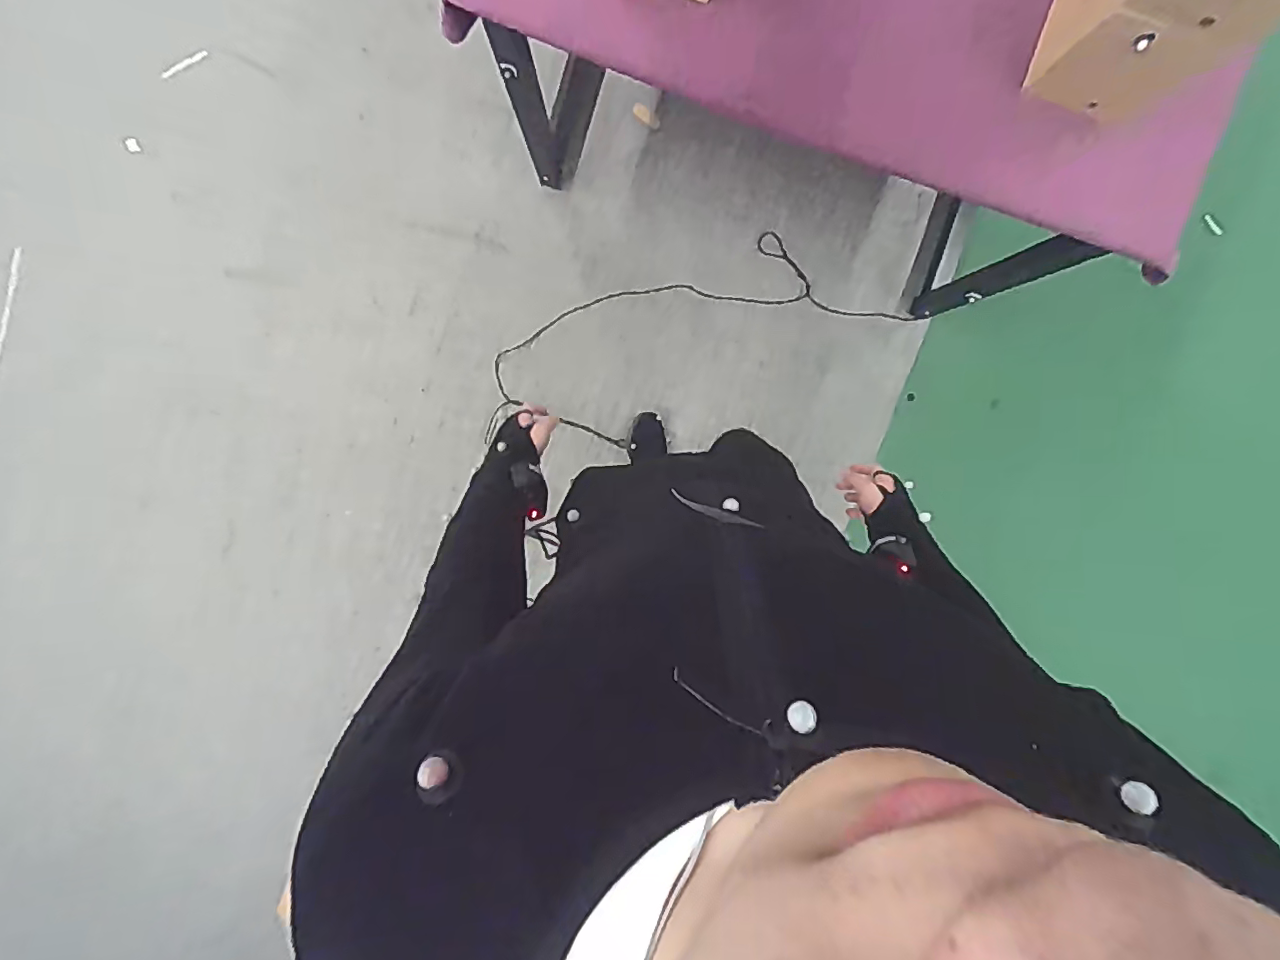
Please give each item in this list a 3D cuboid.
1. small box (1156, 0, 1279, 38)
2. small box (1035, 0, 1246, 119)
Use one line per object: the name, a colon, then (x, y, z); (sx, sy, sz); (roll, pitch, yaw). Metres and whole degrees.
small box: (0.702, -0.640, 0.583); (0.168, 0.176, 0.179); (19, 94, -3)
small box: (0.700, -0.653, 0.747); (0.168, 0.176, 0.179); (17, 94, -1)
